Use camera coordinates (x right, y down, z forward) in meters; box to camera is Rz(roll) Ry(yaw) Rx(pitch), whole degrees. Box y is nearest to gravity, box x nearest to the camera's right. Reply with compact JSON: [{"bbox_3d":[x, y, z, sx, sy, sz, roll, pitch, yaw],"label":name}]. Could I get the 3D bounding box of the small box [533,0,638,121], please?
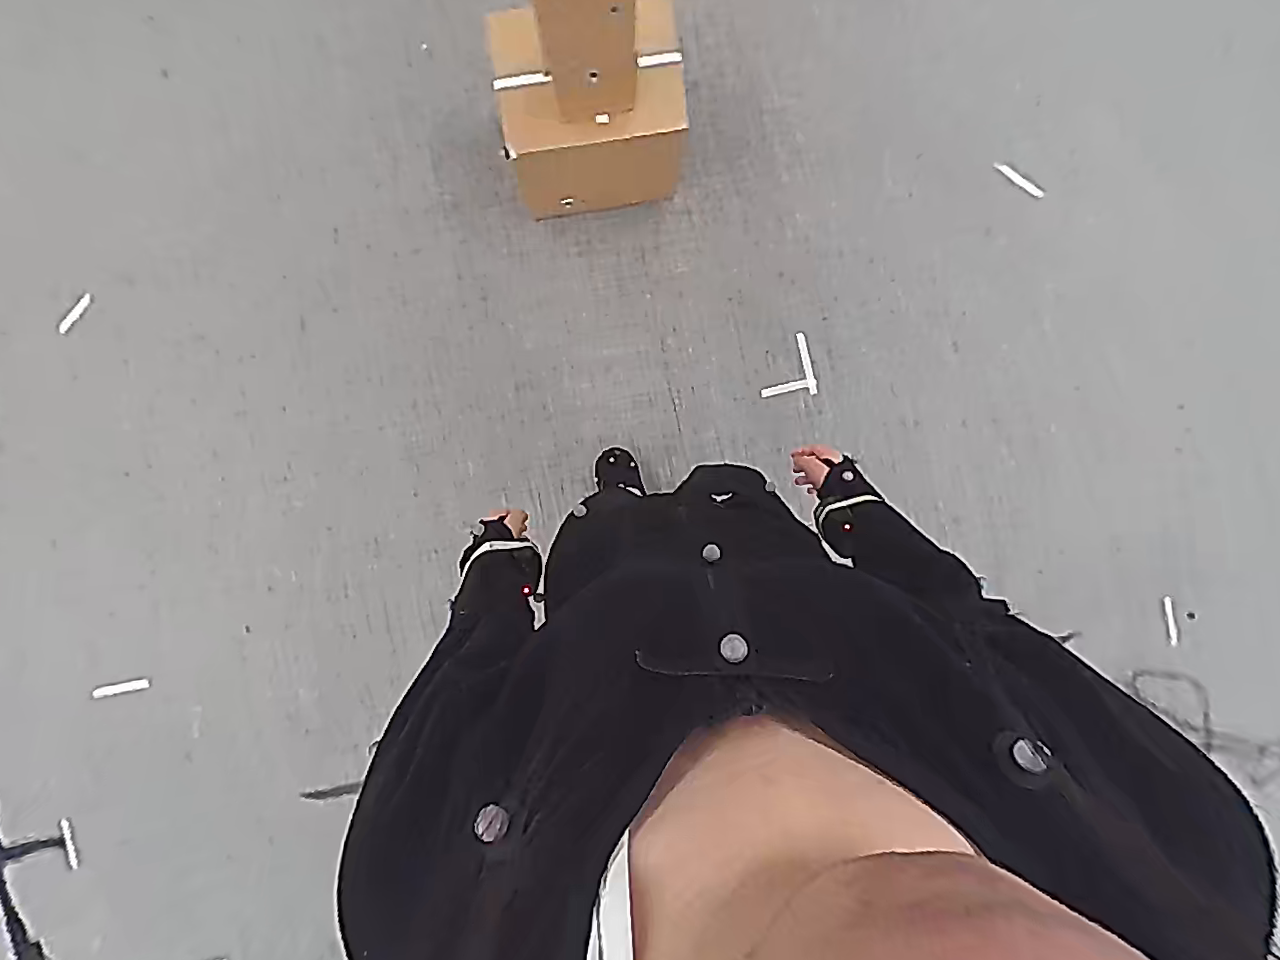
[{"bbox_3d":[-0.105,-0.867,1.096,0.179,0.176,0.168,-12,92,-2],"label":"small box"}]
